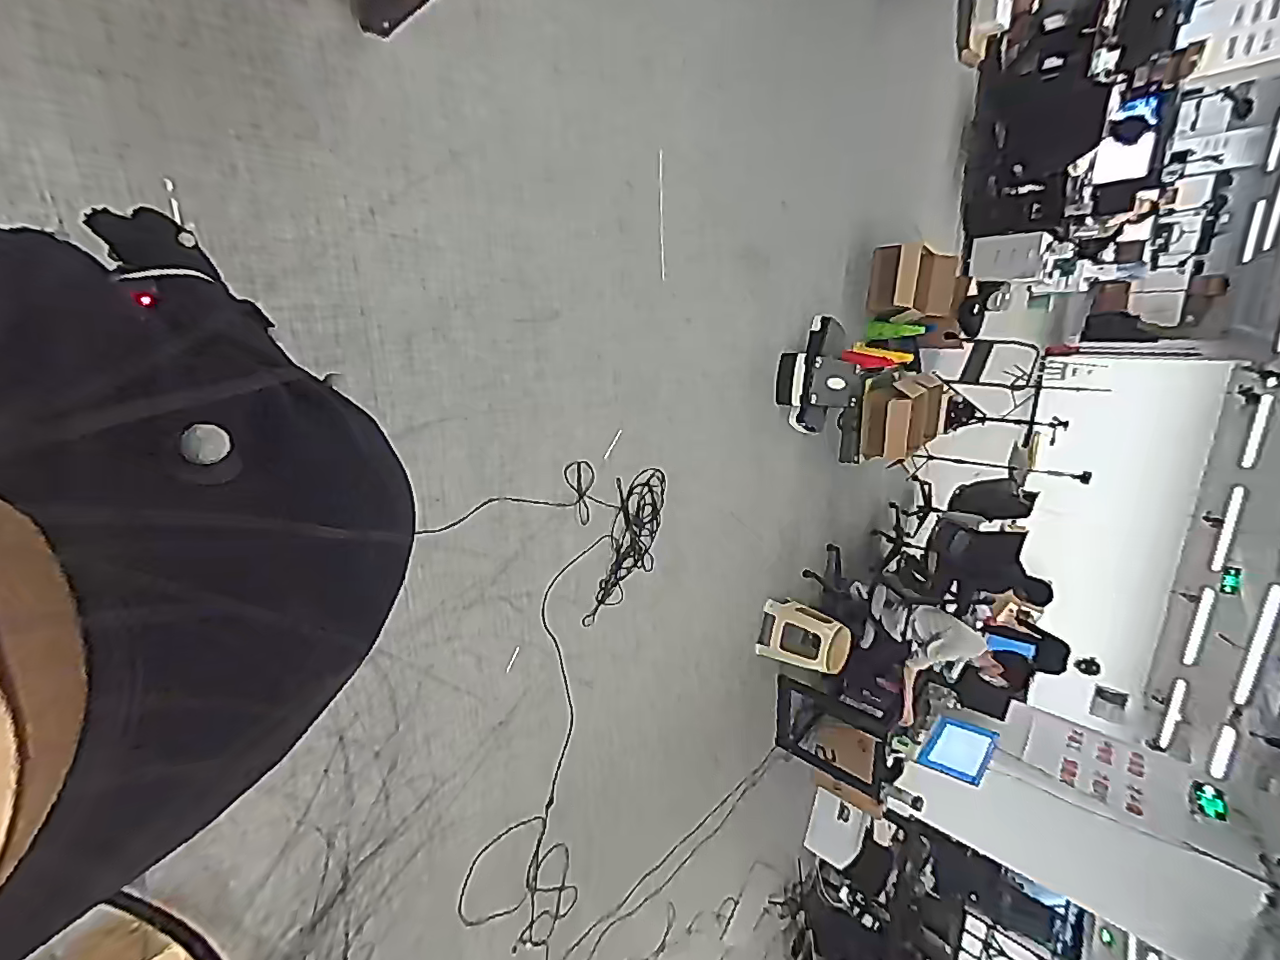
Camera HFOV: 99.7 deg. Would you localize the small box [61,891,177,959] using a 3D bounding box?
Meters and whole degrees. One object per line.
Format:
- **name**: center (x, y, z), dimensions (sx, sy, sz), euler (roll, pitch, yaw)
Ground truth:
- **small box**: center (-1.142, 1.074, 1.193), dimensions (0.168, 0.176, 0.179), euler (-15, 111, -45)
